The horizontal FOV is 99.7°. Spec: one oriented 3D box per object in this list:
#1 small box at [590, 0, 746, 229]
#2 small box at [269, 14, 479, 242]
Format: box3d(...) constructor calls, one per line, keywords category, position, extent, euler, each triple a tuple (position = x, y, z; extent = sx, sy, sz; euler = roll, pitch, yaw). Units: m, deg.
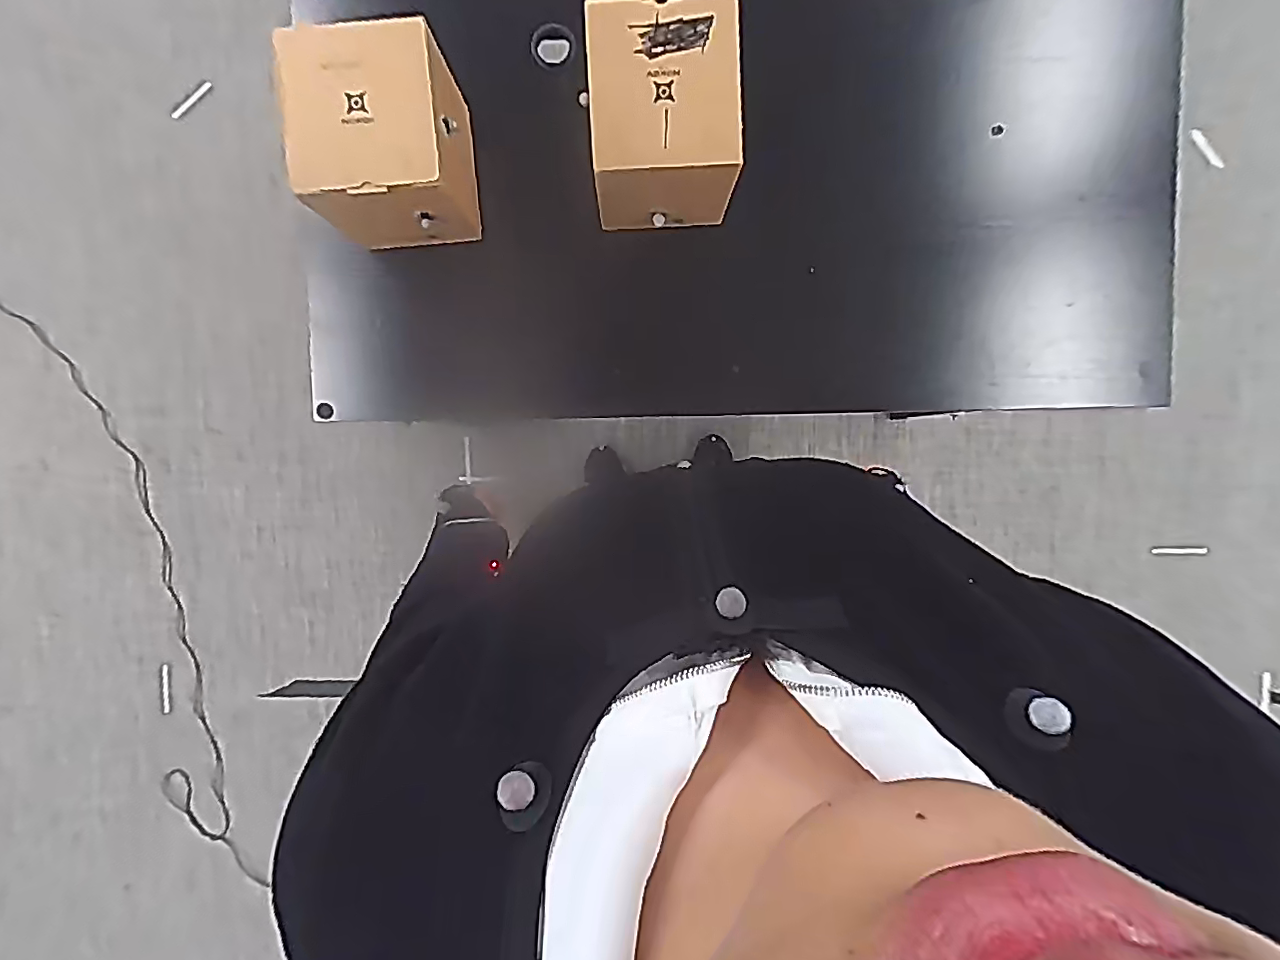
box3d(category="small box", position=(0.028, -0.427, 0.655), extent=(0.168, 0.176, 0.179), euler=(-3, 94, 0))
box3d(category="small box", position=(-0.303, -0.404, 0.654), extent=(0.168, 0.176, 0.179), euler=(-5, 93, -2))
